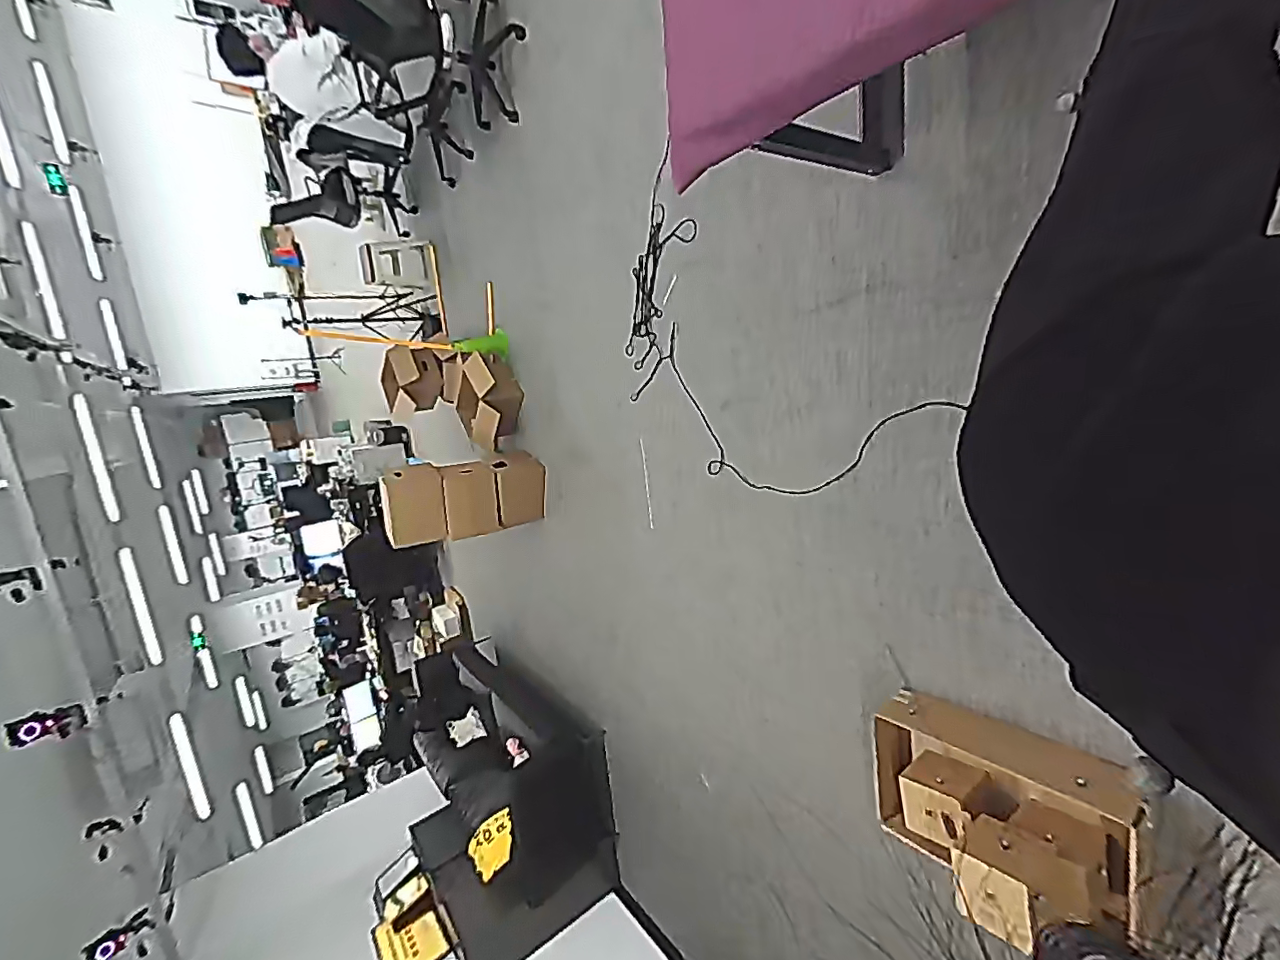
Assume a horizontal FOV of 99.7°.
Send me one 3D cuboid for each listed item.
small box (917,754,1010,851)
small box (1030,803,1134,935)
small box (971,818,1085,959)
[{"bbox_3d":[0.933,0.921,1.550,0.179,0.176,0.168,-6,96,56],"label":"small box"},{"bbox_3d":[1.085,0.945,1.335,0.179,0.176,0.168,1,100,58],"label":"small box"},{"bbox_3d":[0.922,0.954,1.285,0.168,0.176,0.179,-2,98,58],"label":"small box"}]
